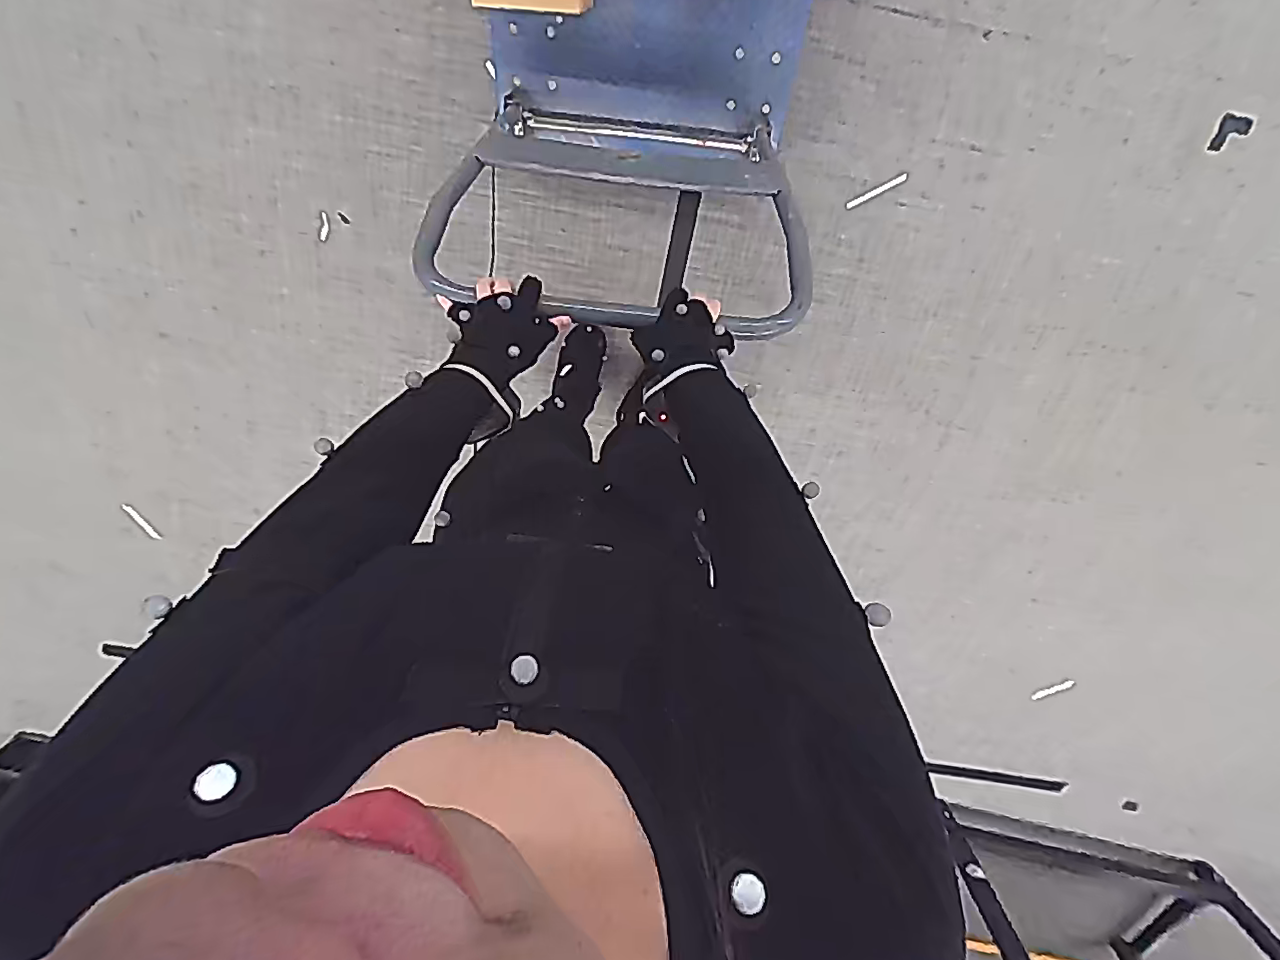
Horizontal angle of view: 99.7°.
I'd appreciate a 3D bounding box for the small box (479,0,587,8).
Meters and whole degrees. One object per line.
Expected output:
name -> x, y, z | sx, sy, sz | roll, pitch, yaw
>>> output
small box -> -0.169, -0.860, 0.852 | 0.179, 0.176, 0.168 | 3, 134, 0
